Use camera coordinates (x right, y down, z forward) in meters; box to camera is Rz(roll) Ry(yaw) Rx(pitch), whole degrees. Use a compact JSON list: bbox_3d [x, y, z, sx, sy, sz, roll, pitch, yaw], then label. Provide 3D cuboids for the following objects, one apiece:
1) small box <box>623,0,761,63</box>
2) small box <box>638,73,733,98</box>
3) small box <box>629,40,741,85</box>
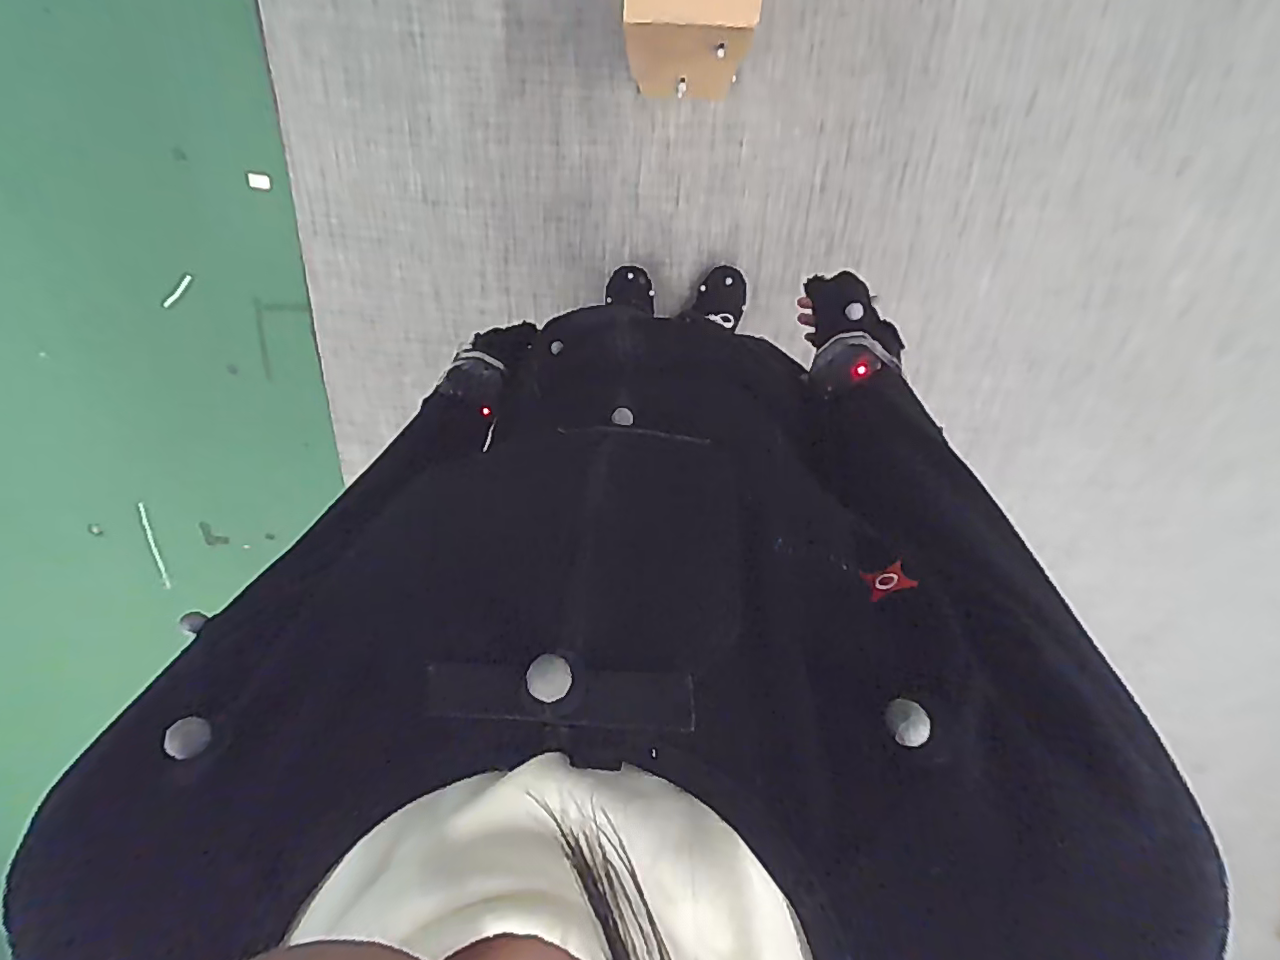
[{"bbox_3d":[0.073,-0.688,0.729,0.179,0.176,0.168,4,114,4],"label":"small box"},{"bbox_3d":[0.090,-0.838,1.018,0.179,0.176,0.168,5,114,4],"label":"small box"},{"bbox_3d":[0.077,-0.761,0.878,0.179,0.176,0.168,3,116,4],"label":"small box"}]
